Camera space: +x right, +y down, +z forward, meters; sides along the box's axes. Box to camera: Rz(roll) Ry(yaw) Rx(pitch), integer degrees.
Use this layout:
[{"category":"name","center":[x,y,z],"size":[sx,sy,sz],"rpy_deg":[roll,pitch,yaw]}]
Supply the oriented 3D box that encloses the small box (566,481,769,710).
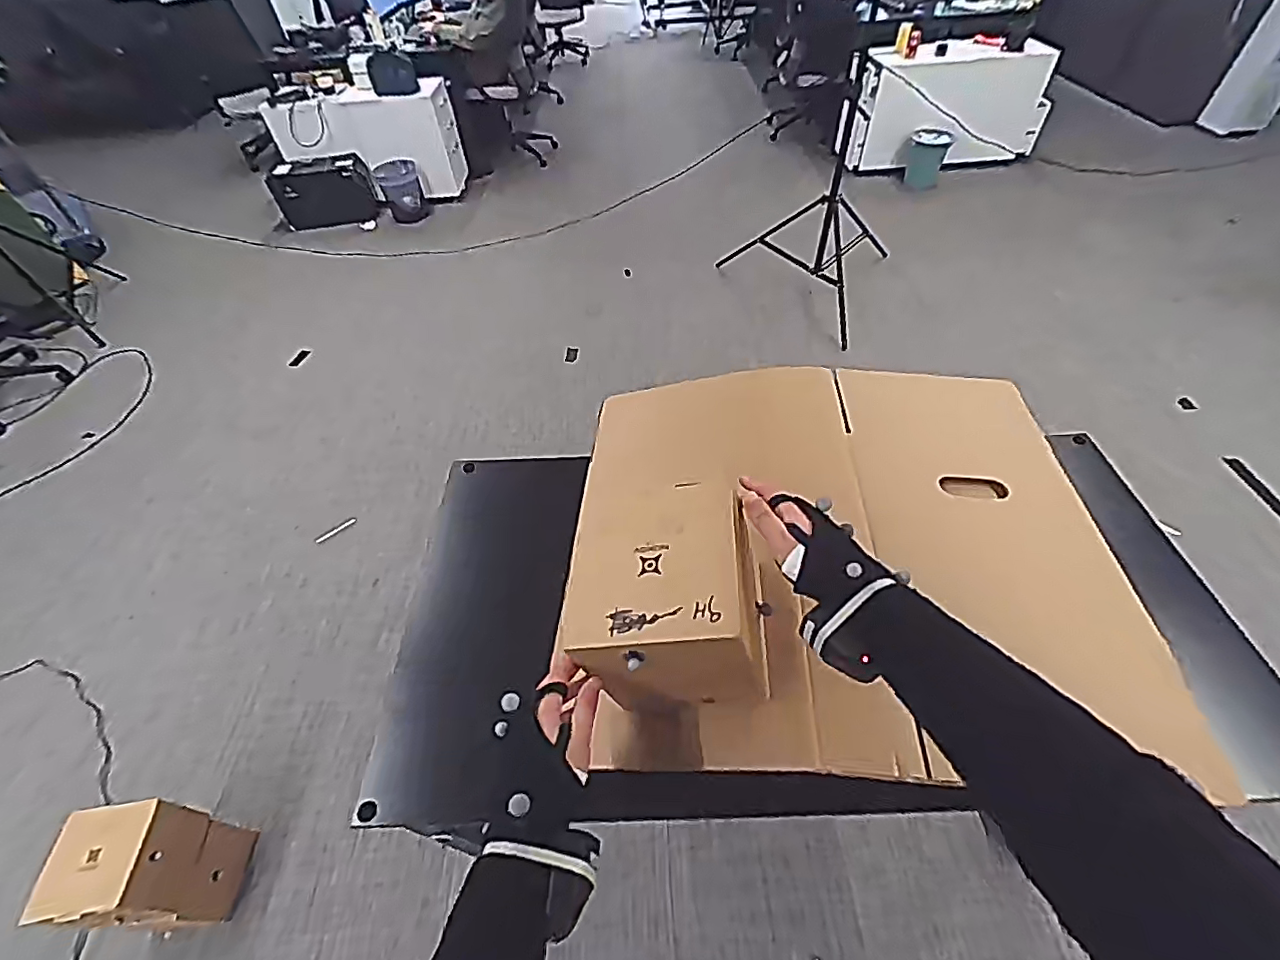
[{"category":"small box","center":[0.040,0.128,0.581],"size":[0.168,0.176,0.179],"rpy_deg":[-10,47,17]}]

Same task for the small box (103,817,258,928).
[{"category":"small box","center":[-0.986,0.861,1.184],"size":[0.168,0.176,0.179],"rpy_deg":[-6,50,-1]}]

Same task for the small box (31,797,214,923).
[{"category":"small box","center":[-0.996,0.751,1.065],"size":[0.168,0.176,0.179],"rpy_deg":[-7,48,-4]}]
